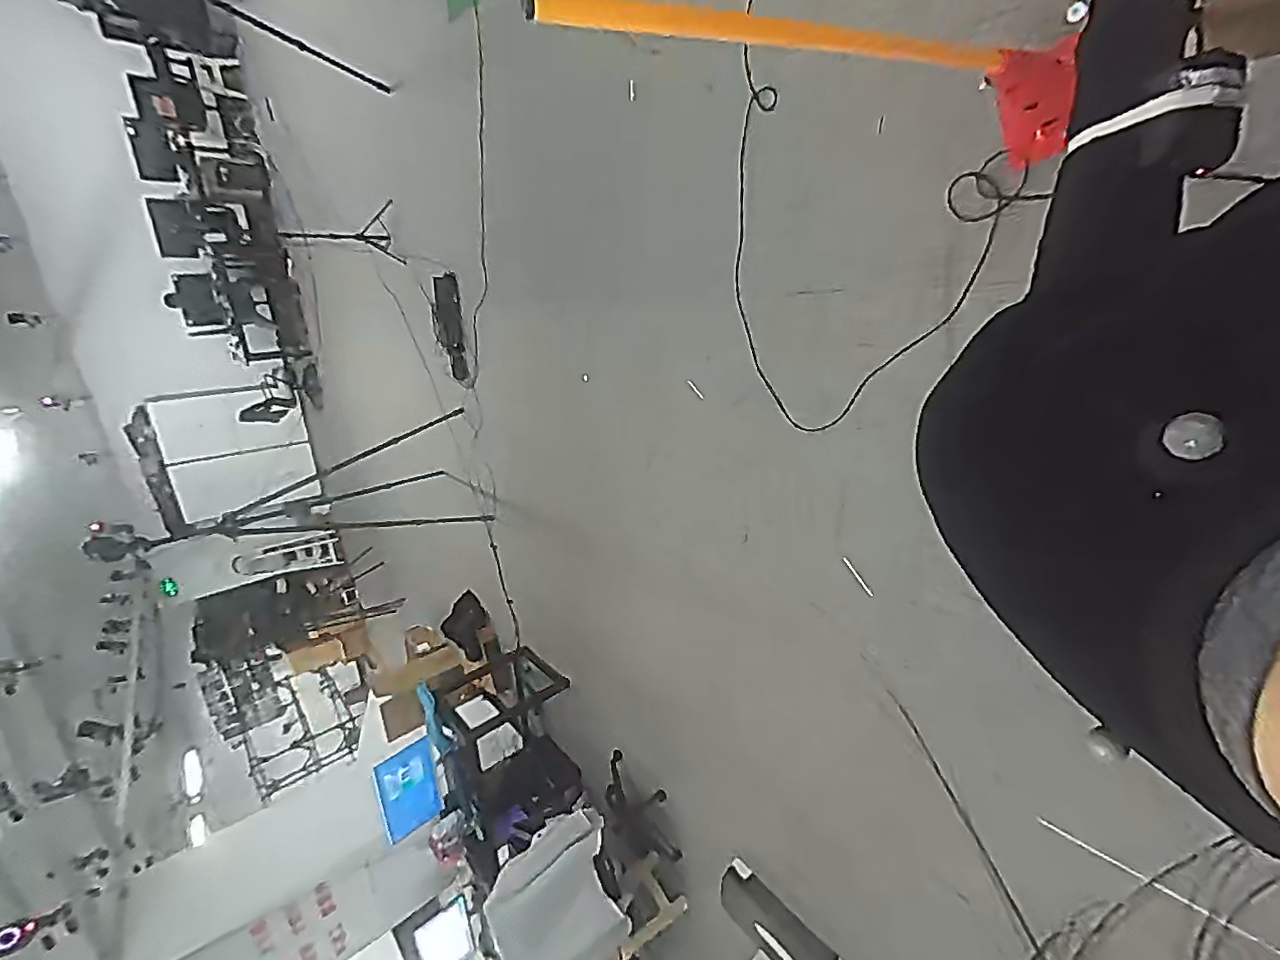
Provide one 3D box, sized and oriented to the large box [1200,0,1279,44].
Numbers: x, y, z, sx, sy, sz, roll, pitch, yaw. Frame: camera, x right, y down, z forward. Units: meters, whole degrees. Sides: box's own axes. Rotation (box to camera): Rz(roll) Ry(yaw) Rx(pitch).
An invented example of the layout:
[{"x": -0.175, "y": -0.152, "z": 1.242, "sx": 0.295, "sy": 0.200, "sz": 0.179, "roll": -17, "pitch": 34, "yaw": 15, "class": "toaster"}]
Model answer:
[{"x": 0.568, "y": -0.475, "z": 0.241, "sx": 0.408, "sy": 0.320, "sz": 0.320, "roll": 12, "pitch": 119, "yaw": 44, "class": "large box"}]
